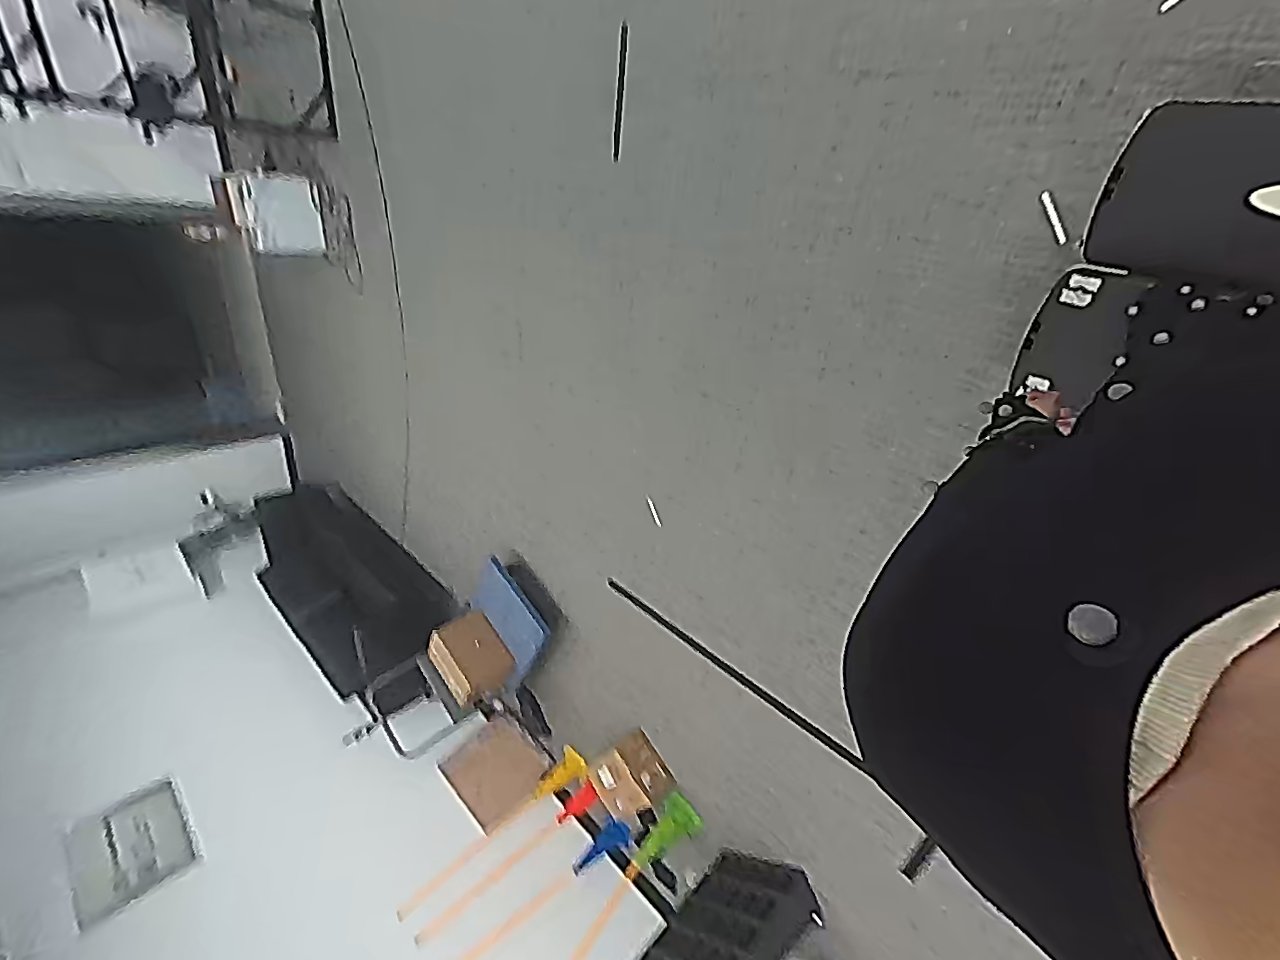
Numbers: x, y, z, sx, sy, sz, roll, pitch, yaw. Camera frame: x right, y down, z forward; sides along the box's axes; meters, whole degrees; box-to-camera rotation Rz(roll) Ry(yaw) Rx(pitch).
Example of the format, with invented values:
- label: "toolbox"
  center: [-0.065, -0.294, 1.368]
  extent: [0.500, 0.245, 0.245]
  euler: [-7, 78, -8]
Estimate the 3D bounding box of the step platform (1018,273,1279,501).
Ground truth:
- label: "step platform"
  center: [1.115, -0.153, 0.992]
  extent: [0.684, 0.204, 0.286]
  euler: [35, 127, 34]
